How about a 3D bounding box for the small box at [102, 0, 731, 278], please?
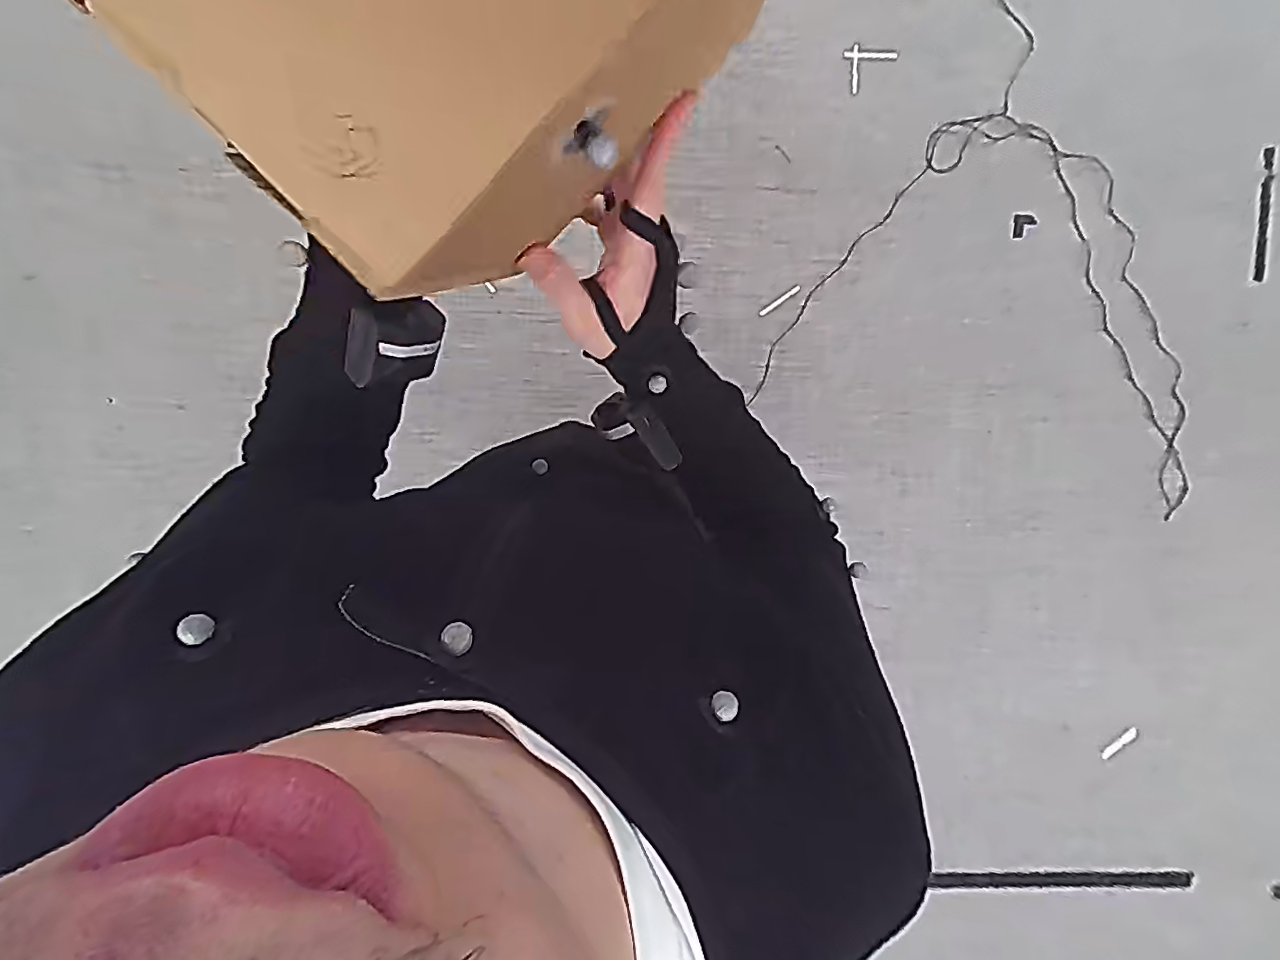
[{"bbox_3d":[-0.070,-0.206,0.211,0.179,0.176,0.168,-40,107,18],"label":"small box"}]
